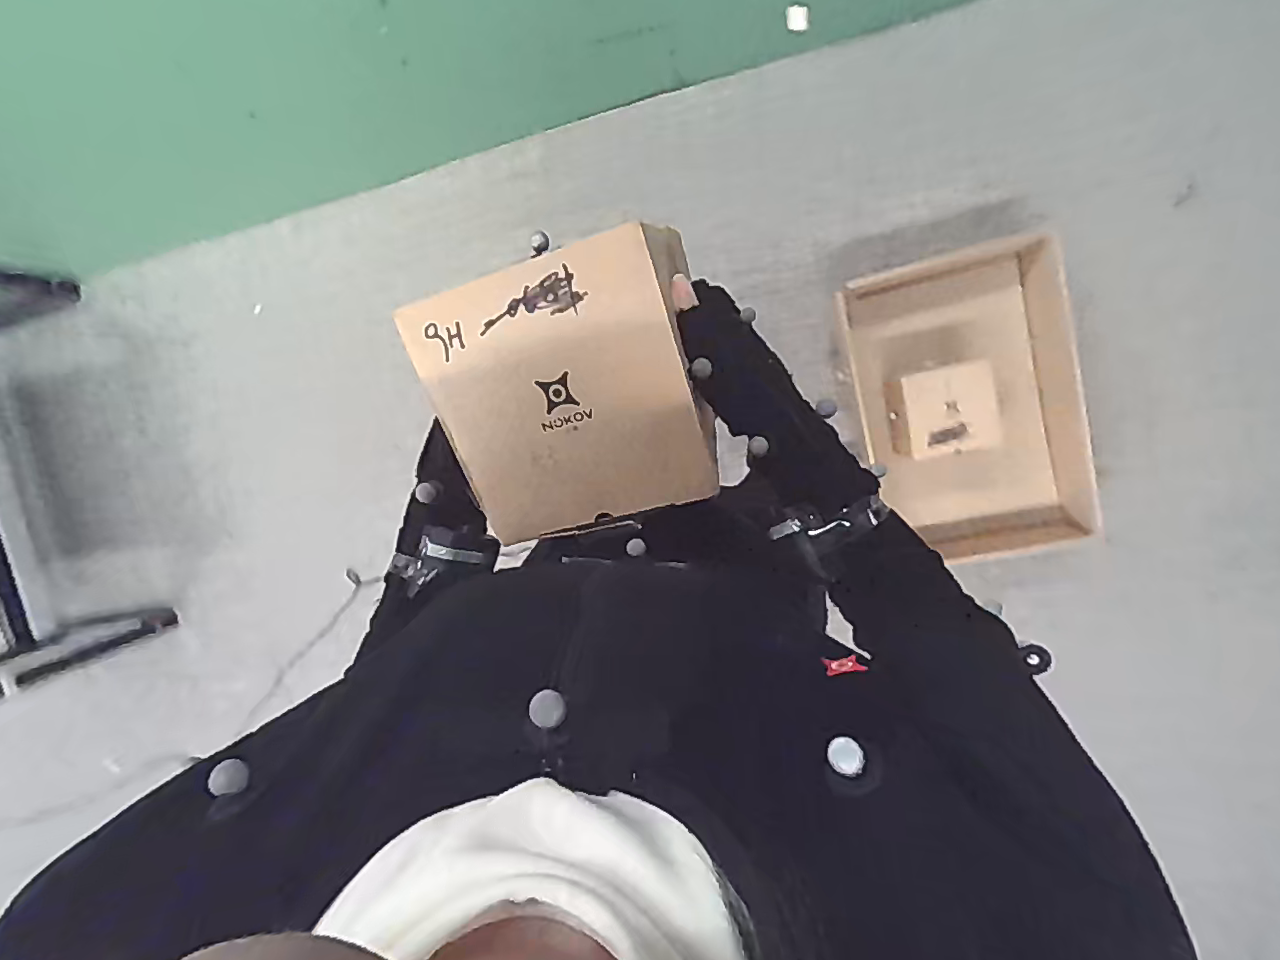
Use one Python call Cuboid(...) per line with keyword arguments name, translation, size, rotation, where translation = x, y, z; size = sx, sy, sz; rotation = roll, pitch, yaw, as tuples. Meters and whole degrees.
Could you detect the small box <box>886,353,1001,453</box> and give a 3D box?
Cuboid(name="small box", translation=(0.636, -0.163, 1.149), size=(0.168, 0.176, 0.179), rotation=(-10, 95, 13))
